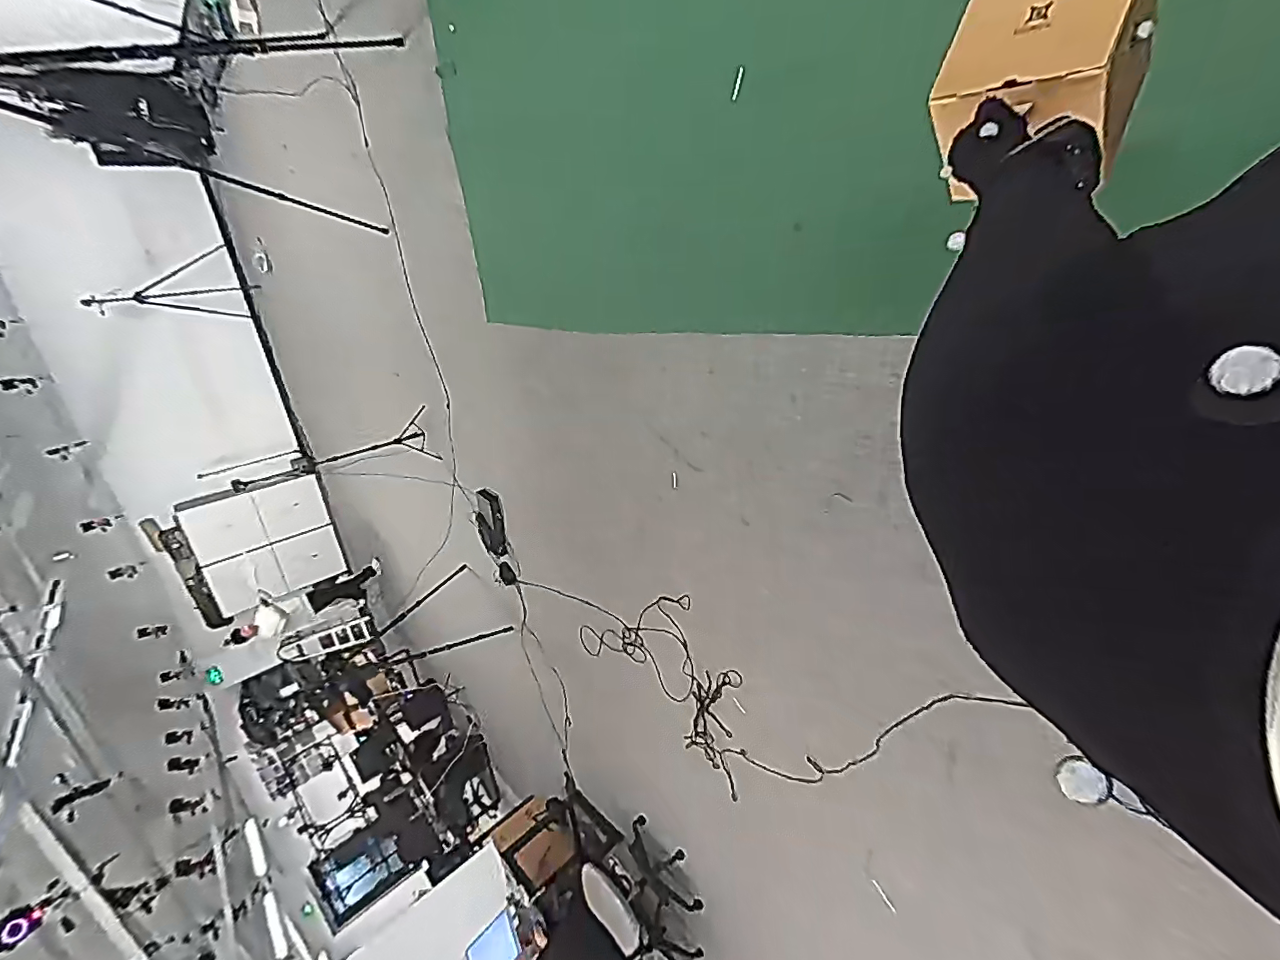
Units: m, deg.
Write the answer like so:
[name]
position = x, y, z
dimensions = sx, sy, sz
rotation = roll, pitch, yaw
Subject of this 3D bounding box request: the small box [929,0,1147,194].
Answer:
[small box]
position = 0.477, -0.481, 0.652
dimensions = 0.168, 0.176, 0.179
rotation = 20, 88, 41
